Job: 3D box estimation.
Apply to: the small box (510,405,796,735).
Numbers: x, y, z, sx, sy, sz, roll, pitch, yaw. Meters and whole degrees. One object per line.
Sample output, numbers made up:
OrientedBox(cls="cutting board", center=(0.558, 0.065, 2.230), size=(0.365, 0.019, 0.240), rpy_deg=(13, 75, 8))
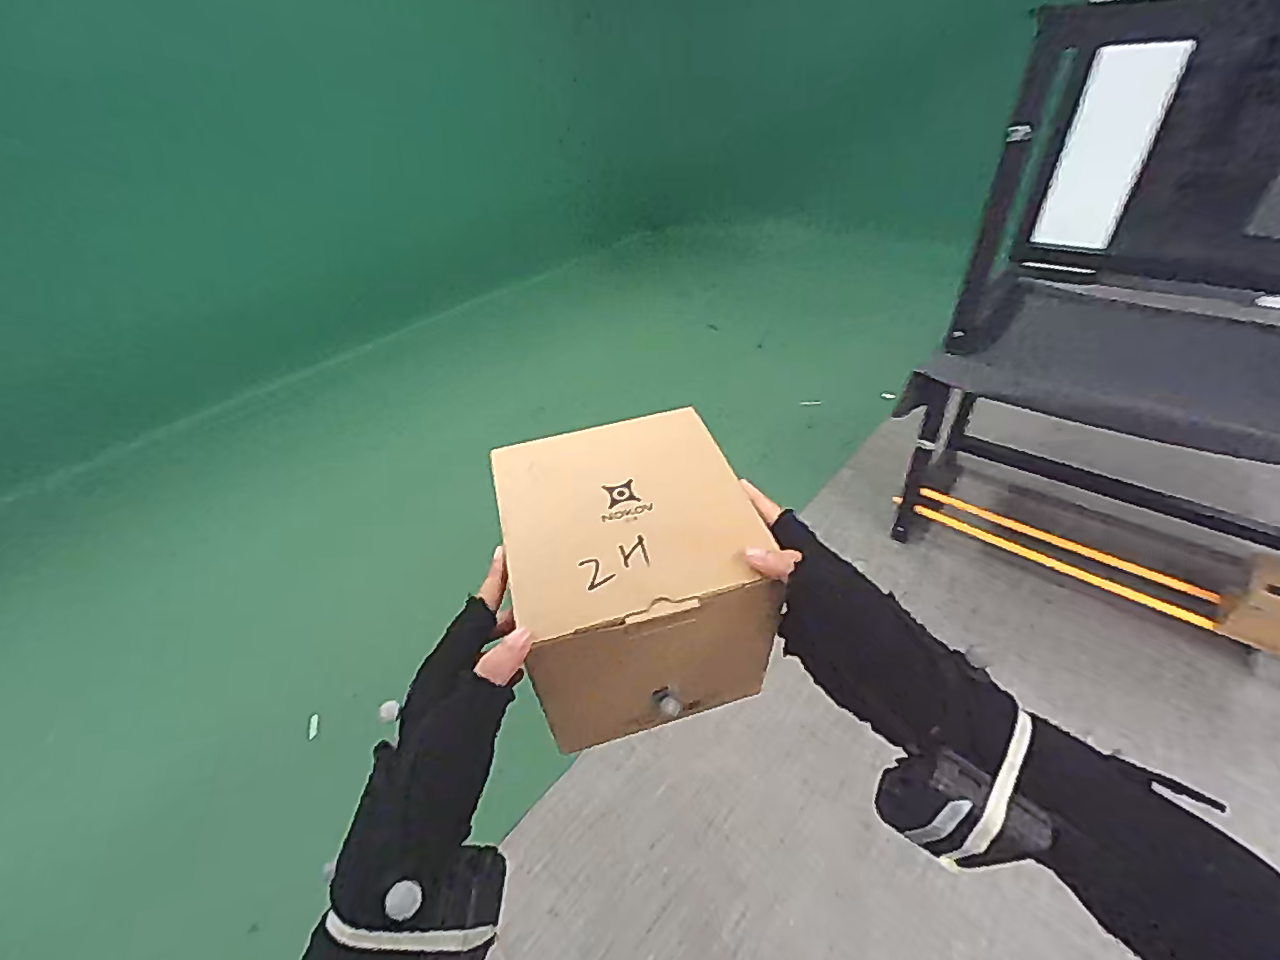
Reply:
OrientedBox(cls="small box", center=(0.000, 0.068, 0.431), size=(0.168, 0.176, 0.179), rpy_deg=(-13, 45, -9))
